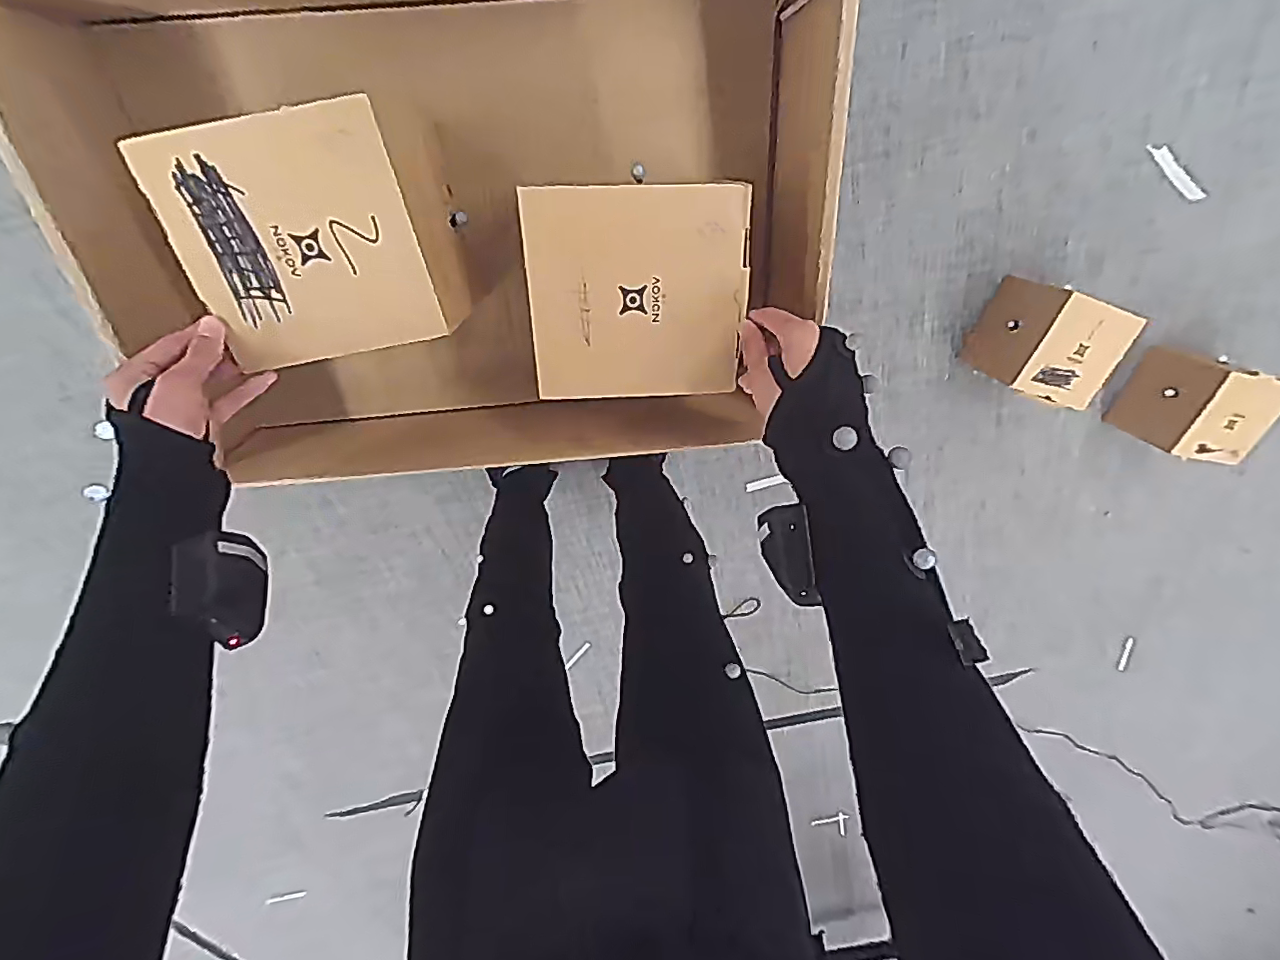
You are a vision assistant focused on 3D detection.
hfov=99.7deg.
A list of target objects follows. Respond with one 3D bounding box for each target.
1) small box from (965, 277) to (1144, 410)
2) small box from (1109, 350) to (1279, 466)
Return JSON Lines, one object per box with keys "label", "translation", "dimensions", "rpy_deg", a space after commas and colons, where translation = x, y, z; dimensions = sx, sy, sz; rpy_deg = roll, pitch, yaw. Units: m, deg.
{"label": "small box", "translation": [0.751, -0.259, 1.009], "dimensions": [0.168, 0.176, 0.179], "rpy_deg": [14, 116, -12]}
{"label": "small box", "translation": [1.122, -0.152, 1.097], "dimensions": [0.168, 0.176, 0.179], "rpy_deg": [8, 117, -9]}
